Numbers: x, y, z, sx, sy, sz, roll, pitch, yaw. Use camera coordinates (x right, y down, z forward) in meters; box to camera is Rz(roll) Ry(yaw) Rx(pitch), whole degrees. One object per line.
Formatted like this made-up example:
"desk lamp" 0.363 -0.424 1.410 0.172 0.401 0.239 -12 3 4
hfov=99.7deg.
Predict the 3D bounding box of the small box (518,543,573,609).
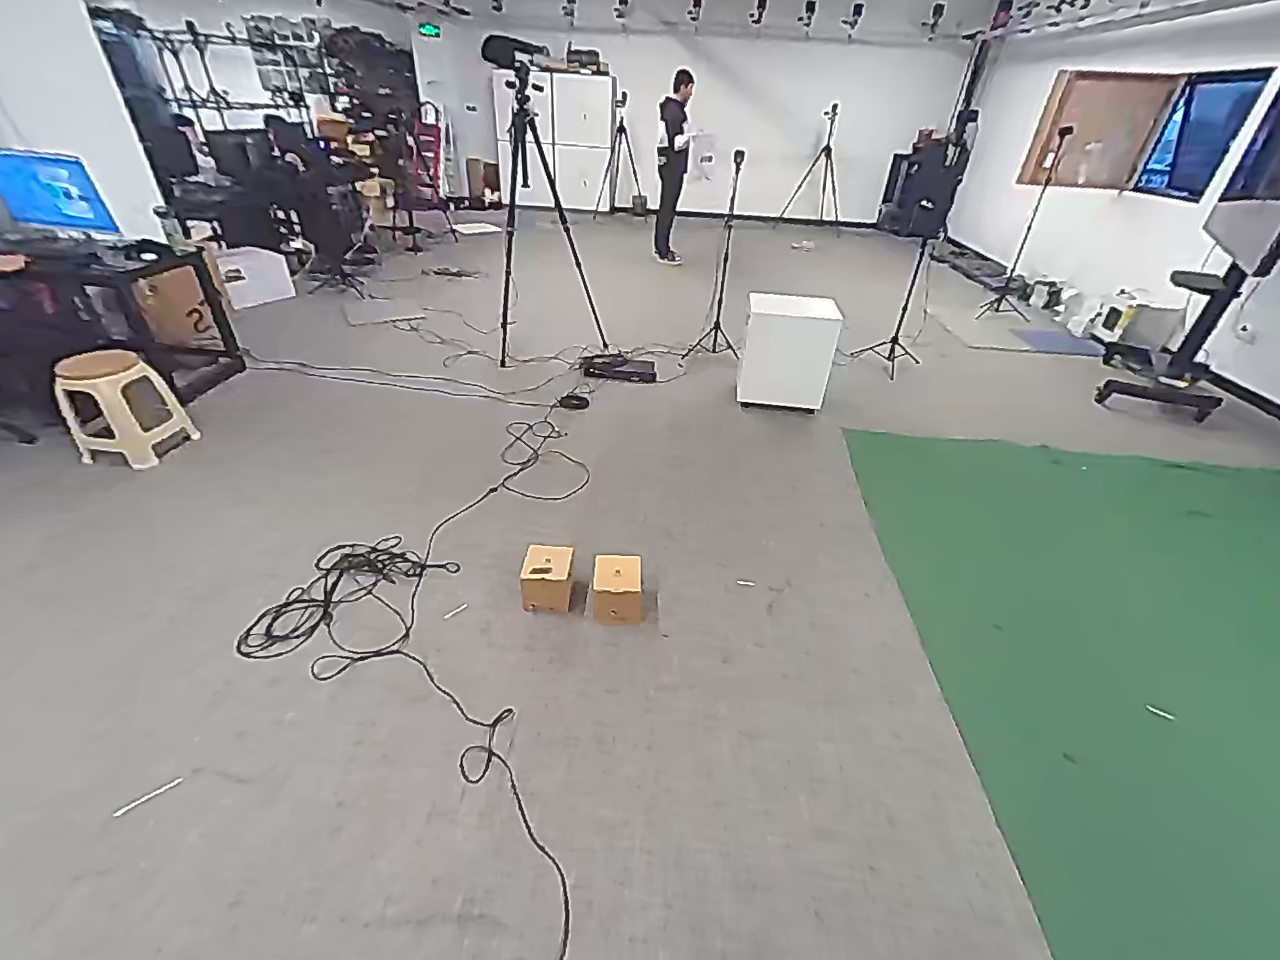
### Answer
"small box" -0.339 0.352 1.975 0.168 0.176 0.179 4 34 0

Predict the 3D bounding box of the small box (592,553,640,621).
"small box" -0.087 0.386 1.952 0.168 0.176 0.179 2 36 -2
